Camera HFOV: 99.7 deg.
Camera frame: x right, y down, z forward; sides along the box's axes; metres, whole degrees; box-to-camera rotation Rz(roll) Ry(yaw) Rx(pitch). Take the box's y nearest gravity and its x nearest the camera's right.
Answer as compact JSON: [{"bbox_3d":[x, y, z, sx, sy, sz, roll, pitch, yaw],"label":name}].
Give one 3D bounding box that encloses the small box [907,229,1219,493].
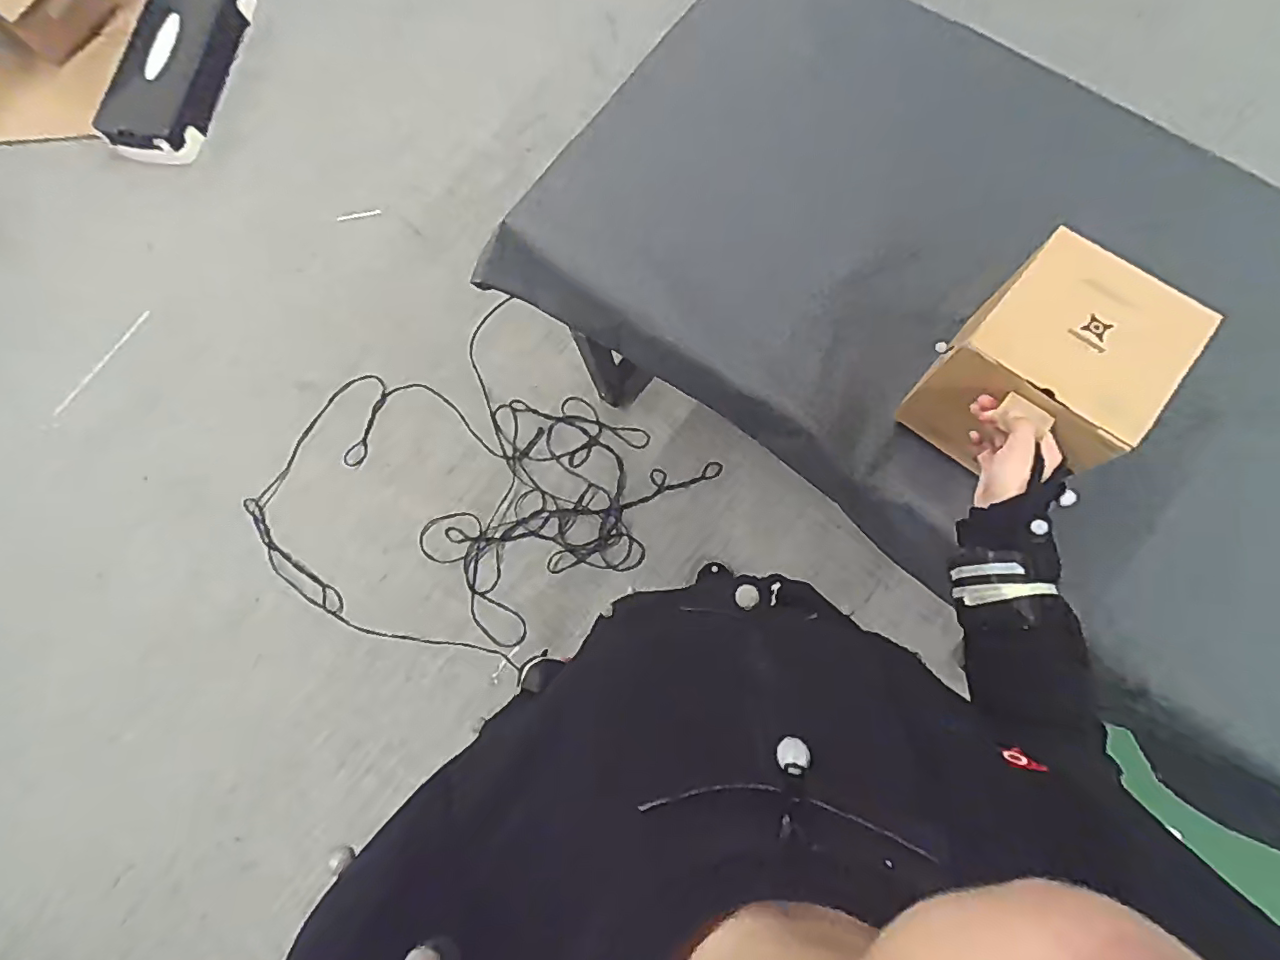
[{"bbox_3d":[0.418,-0.112,0.572,0.168,0.176,0.179,40,77,11],"label":"small box"}]
